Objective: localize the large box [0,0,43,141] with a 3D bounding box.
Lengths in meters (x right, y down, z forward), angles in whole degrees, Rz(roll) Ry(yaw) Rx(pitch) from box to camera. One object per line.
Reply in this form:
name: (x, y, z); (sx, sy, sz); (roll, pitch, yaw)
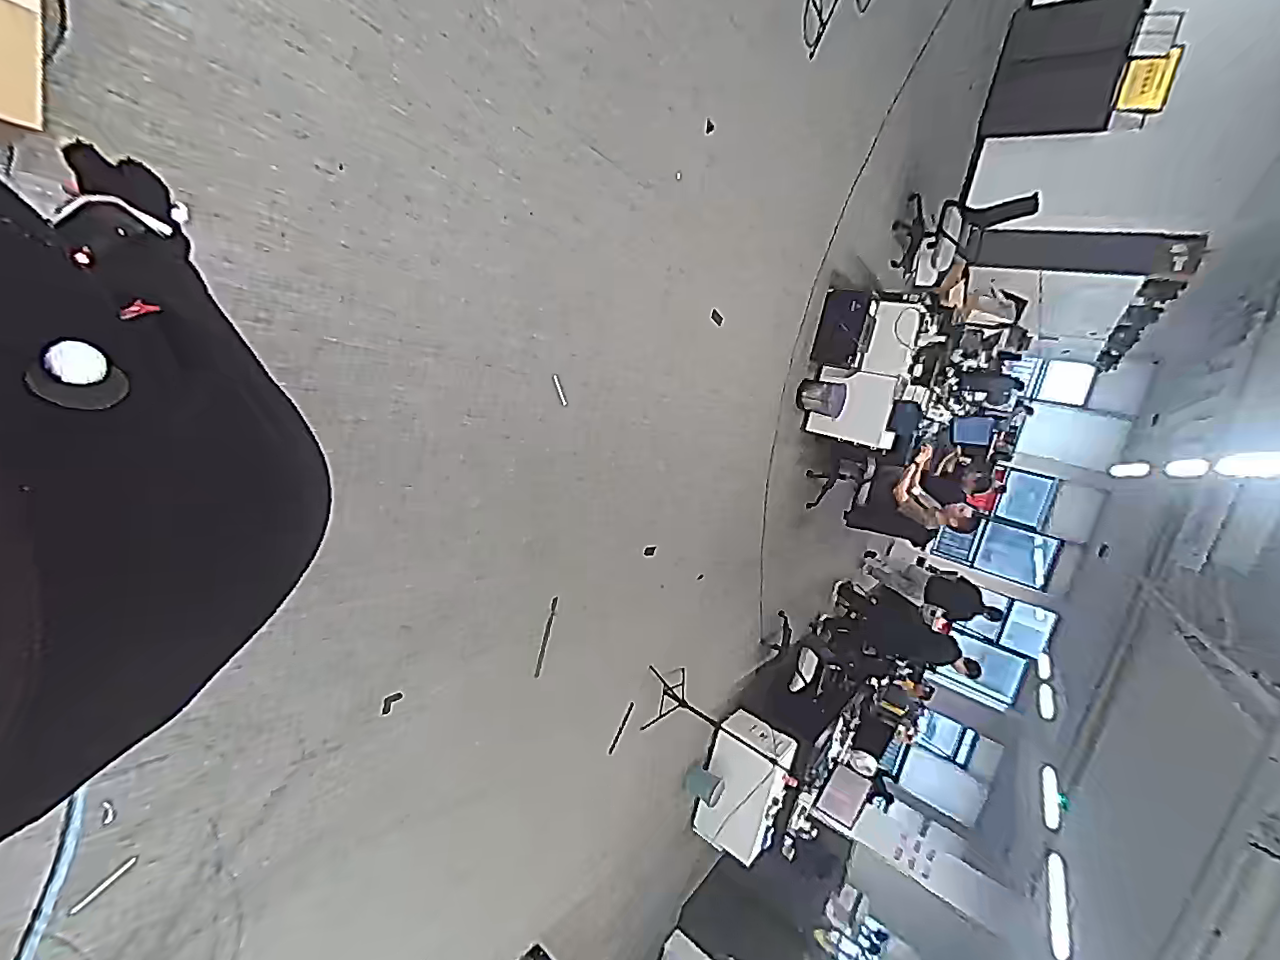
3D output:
large box: (-1.048, -0.672, 0.653); (0.408, 0.320, 0.320); (-4, 110, -54)
